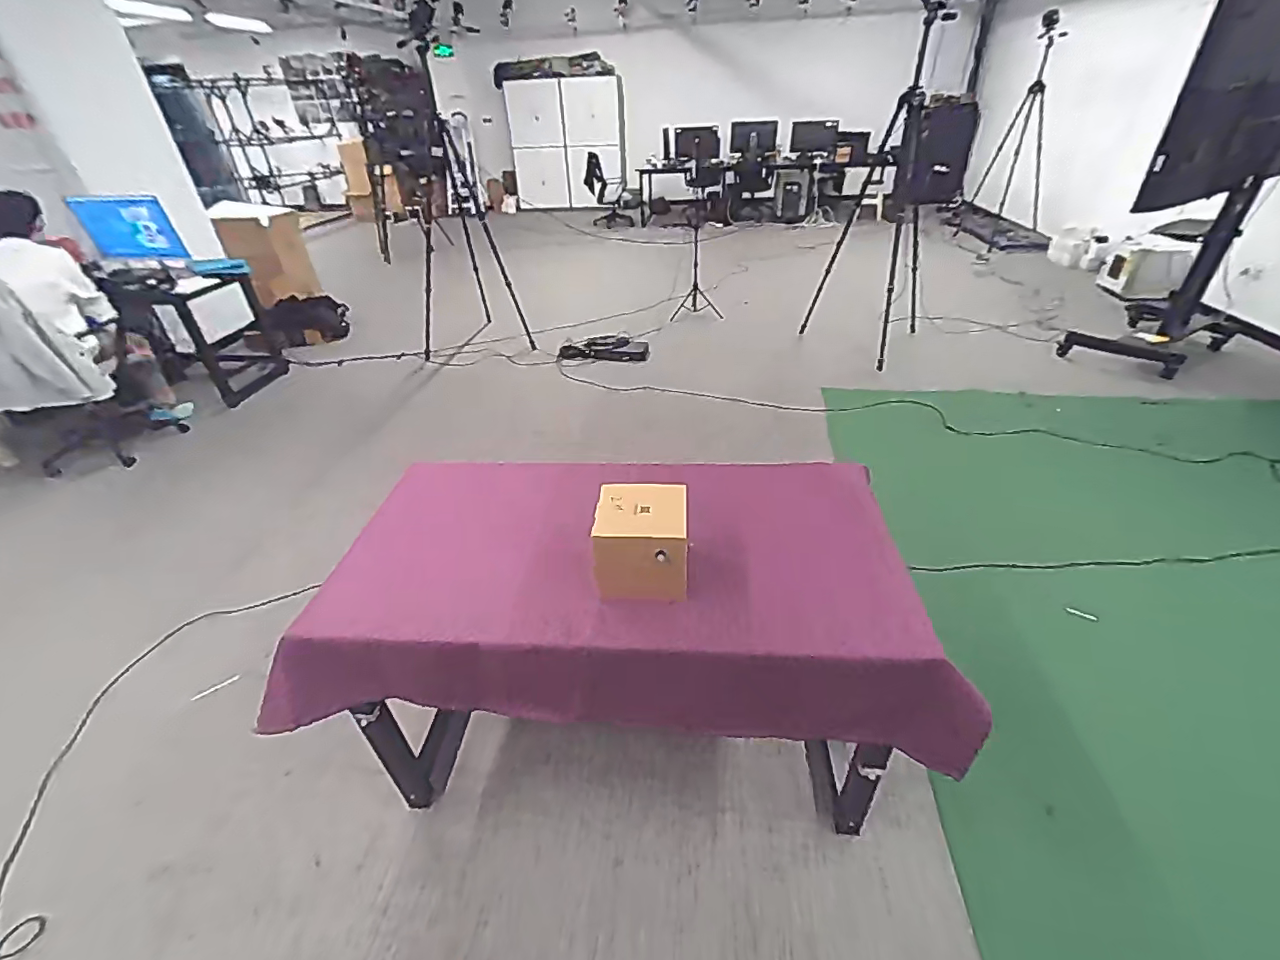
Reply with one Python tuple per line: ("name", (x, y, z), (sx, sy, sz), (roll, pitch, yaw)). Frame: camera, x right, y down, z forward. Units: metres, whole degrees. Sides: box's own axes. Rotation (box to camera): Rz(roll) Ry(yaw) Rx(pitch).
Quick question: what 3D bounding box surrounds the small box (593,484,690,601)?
("small box", (0.010, 0.125, 1.081), (0.179, 0.176, 0.168), (0, 35, 5))
